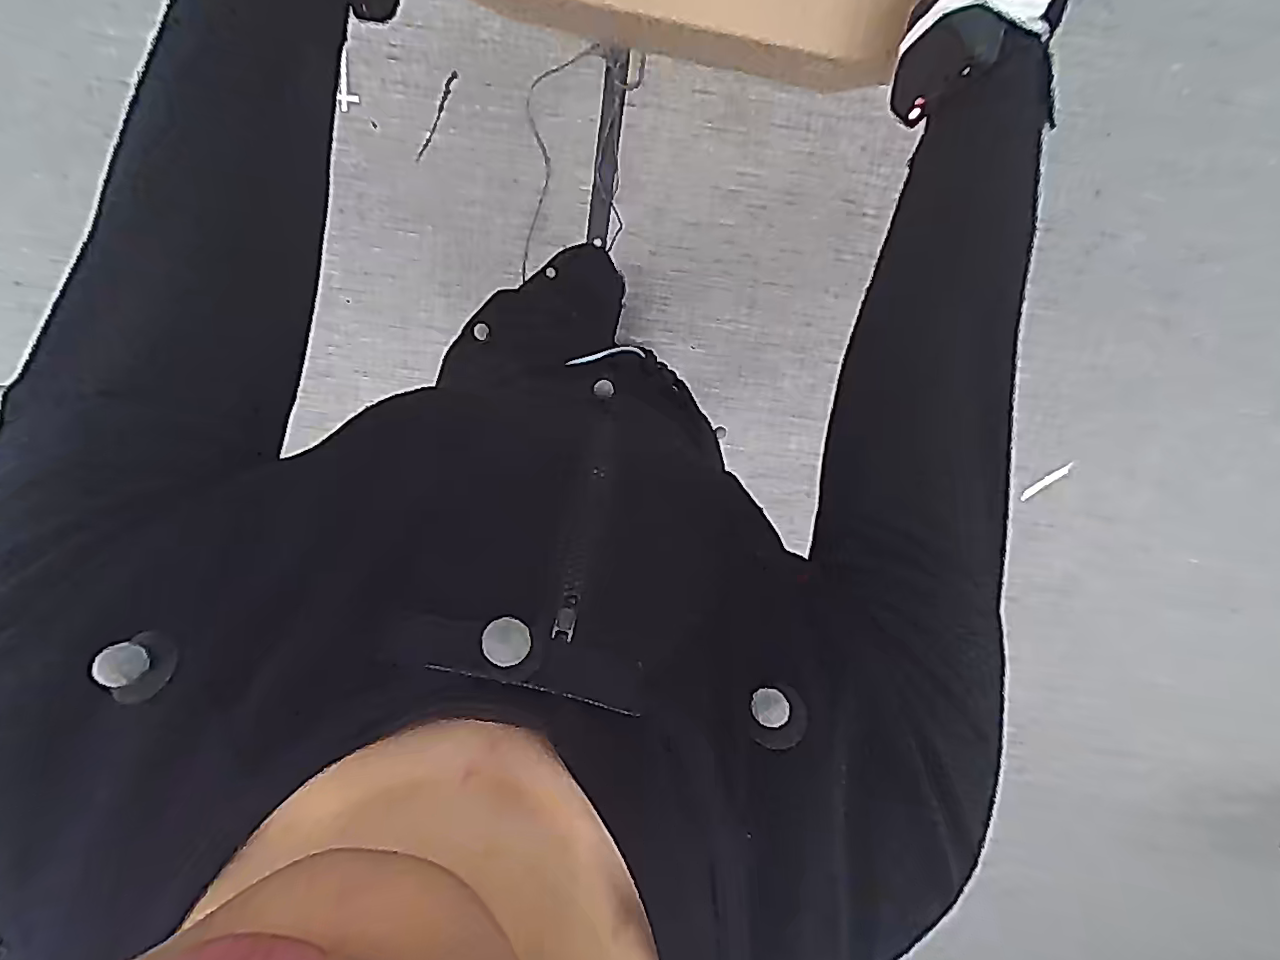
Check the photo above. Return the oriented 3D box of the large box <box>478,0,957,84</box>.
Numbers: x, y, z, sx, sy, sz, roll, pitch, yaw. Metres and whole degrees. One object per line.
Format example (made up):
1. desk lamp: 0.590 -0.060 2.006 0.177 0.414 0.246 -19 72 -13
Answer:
1. large box: 0.057 -0.552 0.441 0.408 0.320 0.320 10 125 -3
